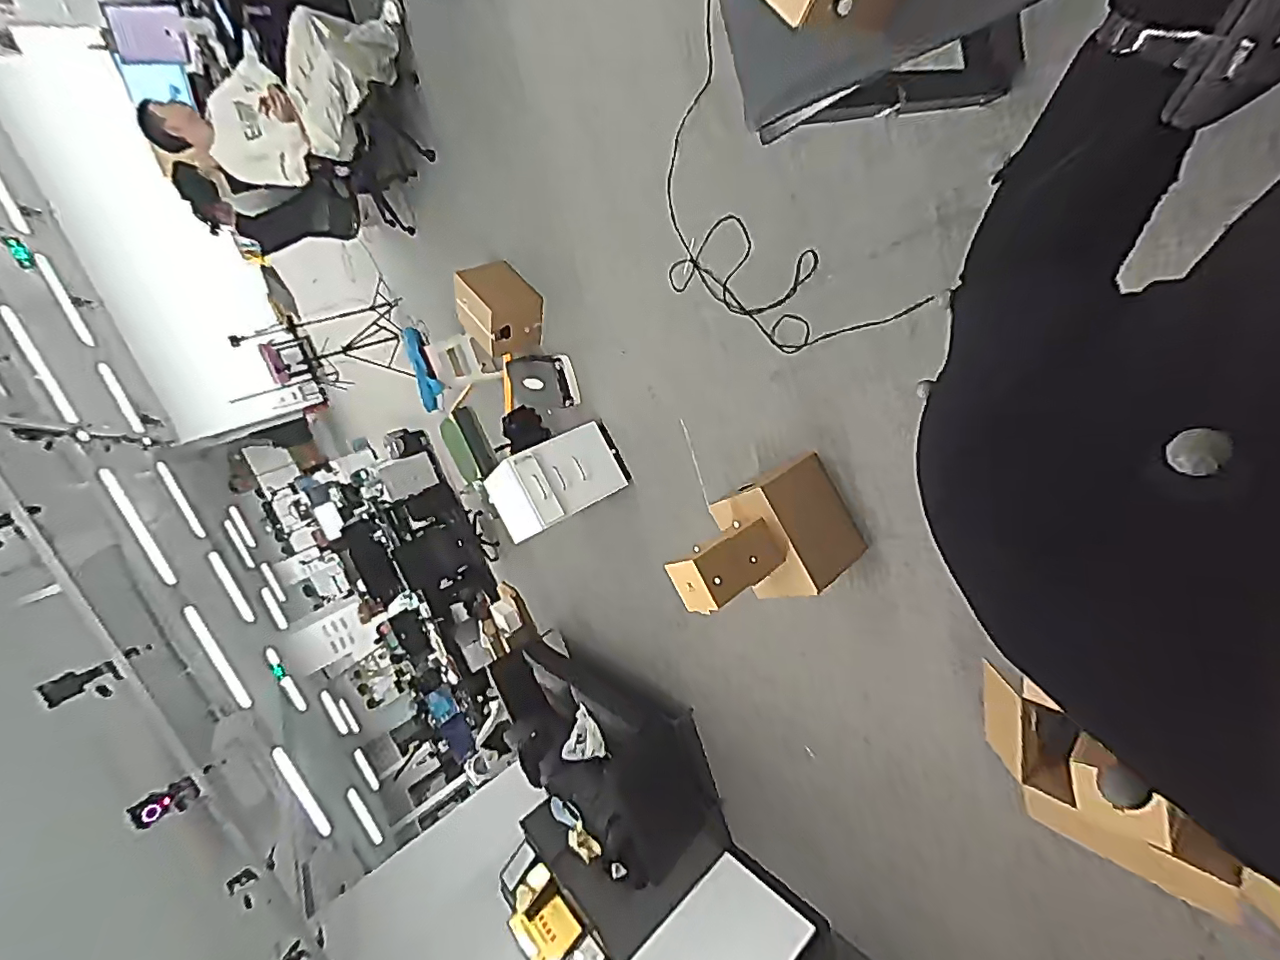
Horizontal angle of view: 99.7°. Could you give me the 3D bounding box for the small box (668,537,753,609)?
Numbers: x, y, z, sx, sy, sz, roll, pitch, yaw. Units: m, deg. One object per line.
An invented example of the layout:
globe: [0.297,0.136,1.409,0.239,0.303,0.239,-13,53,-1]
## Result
small box: [0.230,0.298,1.752,0.168,0.176,0.179,-26,92,58]

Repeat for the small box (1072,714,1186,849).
small box: [1.138,0.690,1.256,0.168,0.176,0.179,1,115,53]

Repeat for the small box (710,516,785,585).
small box: [0.358,0.245,1.838,0.168,0.176,0.179,-27,91,58]
